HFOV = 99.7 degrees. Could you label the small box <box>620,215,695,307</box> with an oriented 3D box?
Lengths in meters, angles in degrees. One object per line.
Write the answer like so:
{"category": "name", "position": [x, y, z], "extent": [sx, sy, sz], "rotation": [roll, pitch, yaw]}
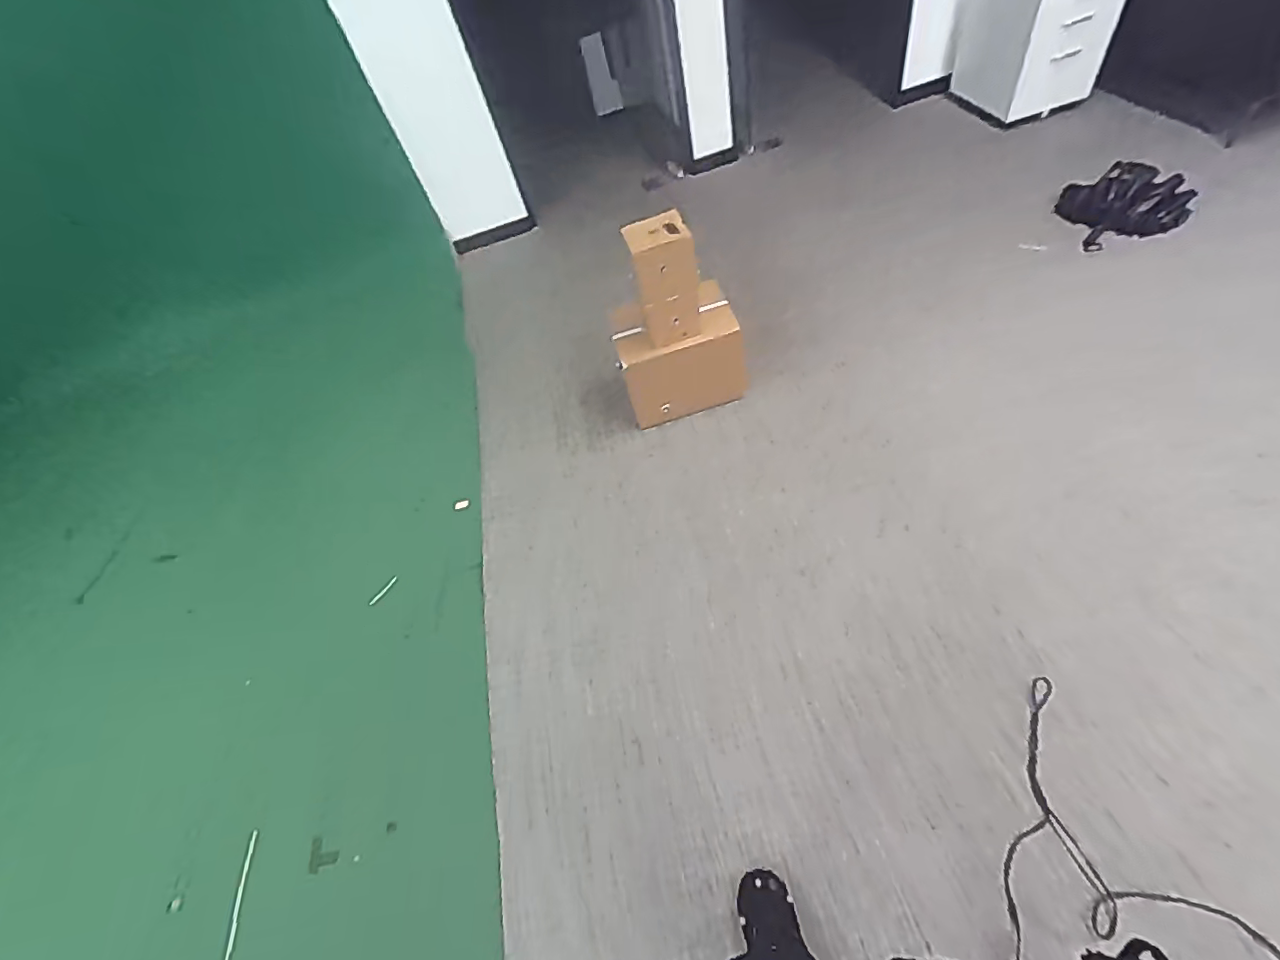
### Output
{"category": "small box", "position": [0.057, -0.645, 1.602], "extent": [0.179, 0.176, 0.168], "rotation": [-18, 51, 2]}

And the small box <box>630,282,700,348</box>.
{"category": "small box", "position": [0.082, -0.545, 1.731], "extent": [0.168, 0.176, 0.179], "rotation": [-20, 52, -1]}
